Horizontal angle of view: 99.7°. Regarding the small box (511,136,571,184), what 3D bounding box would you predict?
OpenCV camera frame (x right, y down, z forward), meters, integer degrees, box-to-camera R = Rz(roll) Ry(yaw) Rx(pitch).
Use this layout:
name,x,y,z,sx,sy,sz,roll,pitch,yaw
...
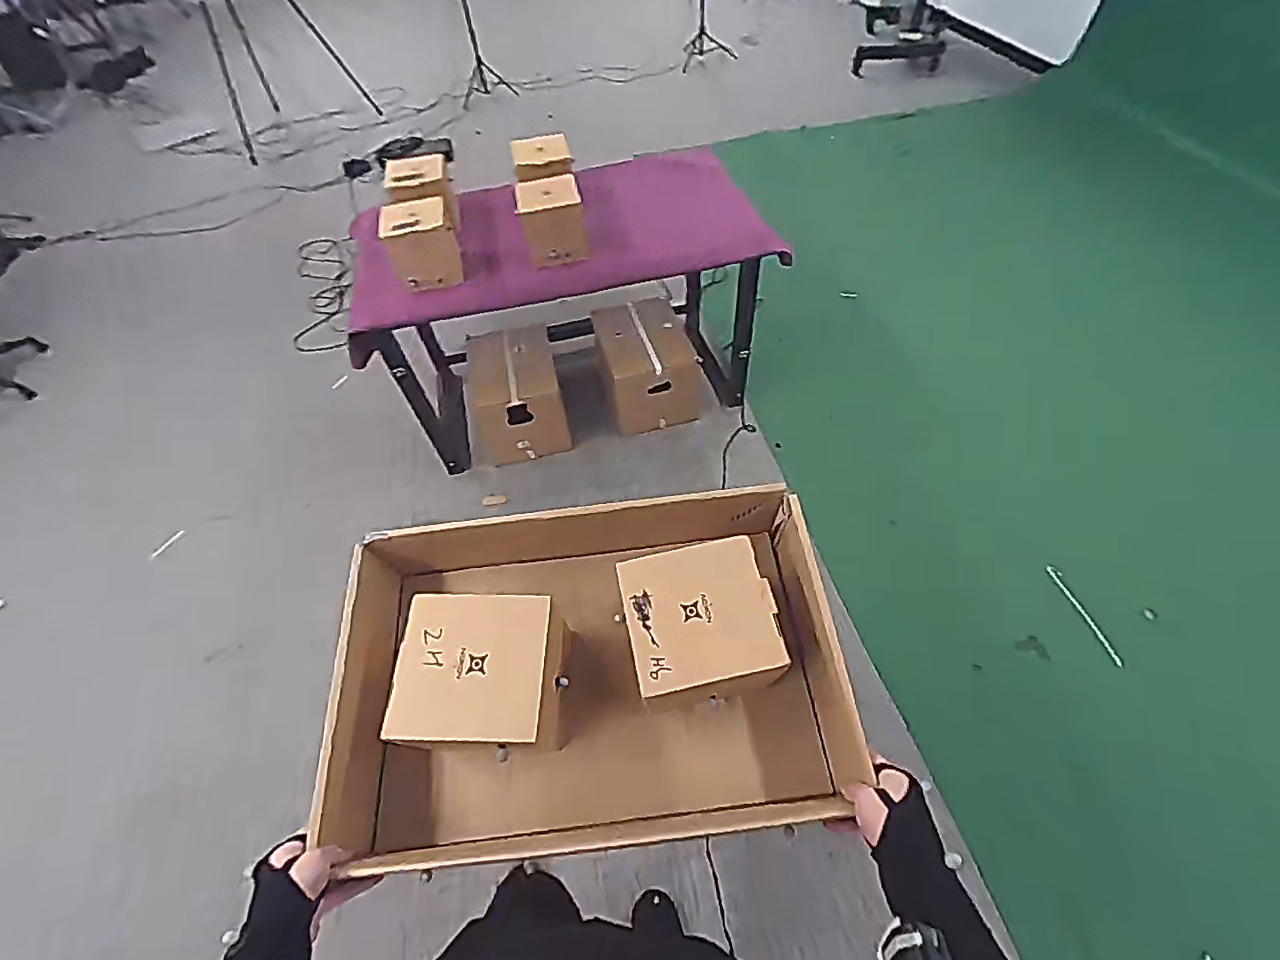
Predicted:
name,x,y,z,sx,sy,sz,roll,pitch,yaw
small box,-0.301,-0.939,1.687,0.168,0.176,0.179,-11,55,-4

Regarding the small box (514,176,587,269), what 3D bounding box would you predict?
name,x,y,z,sx,sy,sz,roll,pitch,yaw
small box,-0.251,-0.724,1.523,0.168,0.176,0.179,-13,53,-3

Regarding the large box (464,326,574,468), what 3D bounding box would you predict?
name,x,y,z,sx,sy,sz,roll,pitch,yaw
large box,-0.460,-0.315,2.064,0.320,0.320,0.408,-13,53,-5

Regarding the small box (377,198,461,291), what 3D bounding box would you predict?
name,x,y,z,sx,sy,sz,roll,pitch,yaw
small box,-0.602,-0.642,1.491,0.168,0.176,0.179,-14,52,-6
